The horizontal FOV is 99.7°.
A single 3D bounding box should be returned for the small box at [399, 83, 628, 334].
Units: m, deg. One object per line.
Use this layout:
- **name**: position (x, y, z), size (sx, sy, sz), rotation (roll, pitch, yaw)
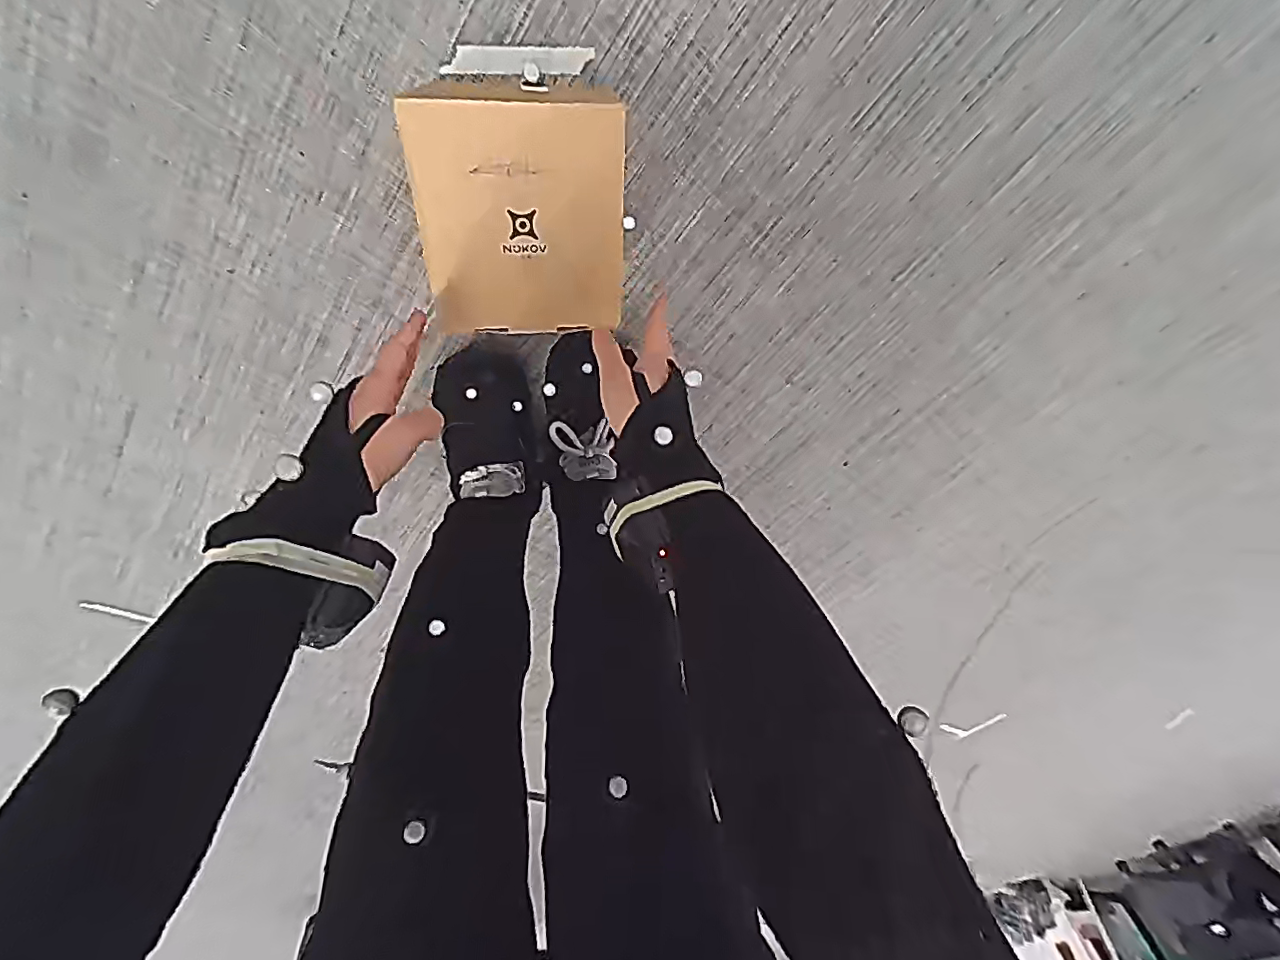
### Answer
- **small box**: position (-0.103, -0.253, 0.503), size (0.168, 0.176, 0.179), rotation (-4, 129, -8)
